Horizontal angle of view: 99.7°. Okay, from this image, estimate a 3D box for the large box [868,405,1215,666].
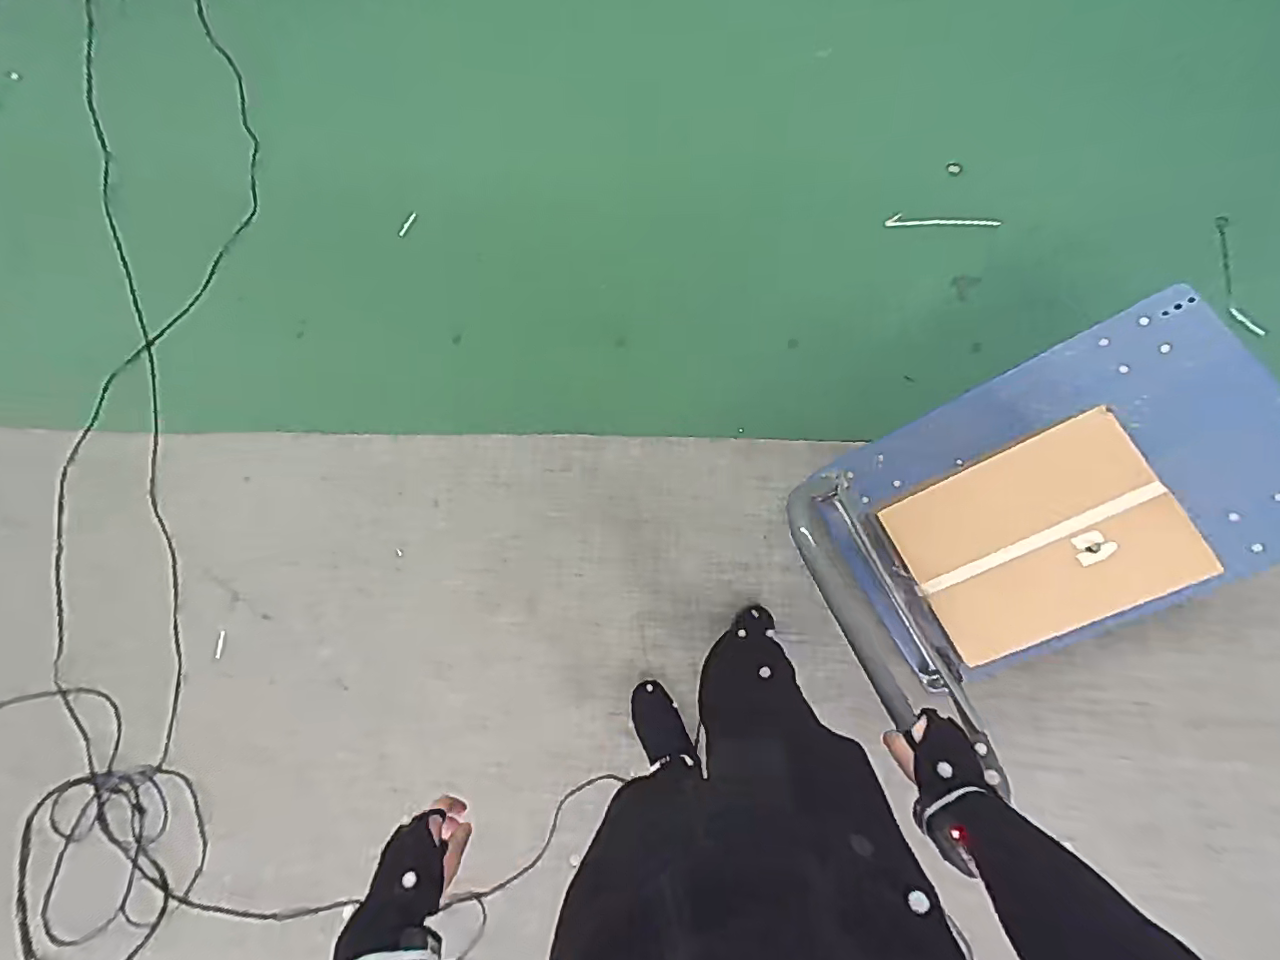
[{"bbox_3d":[0.724,0.111,1.070,0.408,0.320,0.320,-30,78,15],"label":"large box"}]
